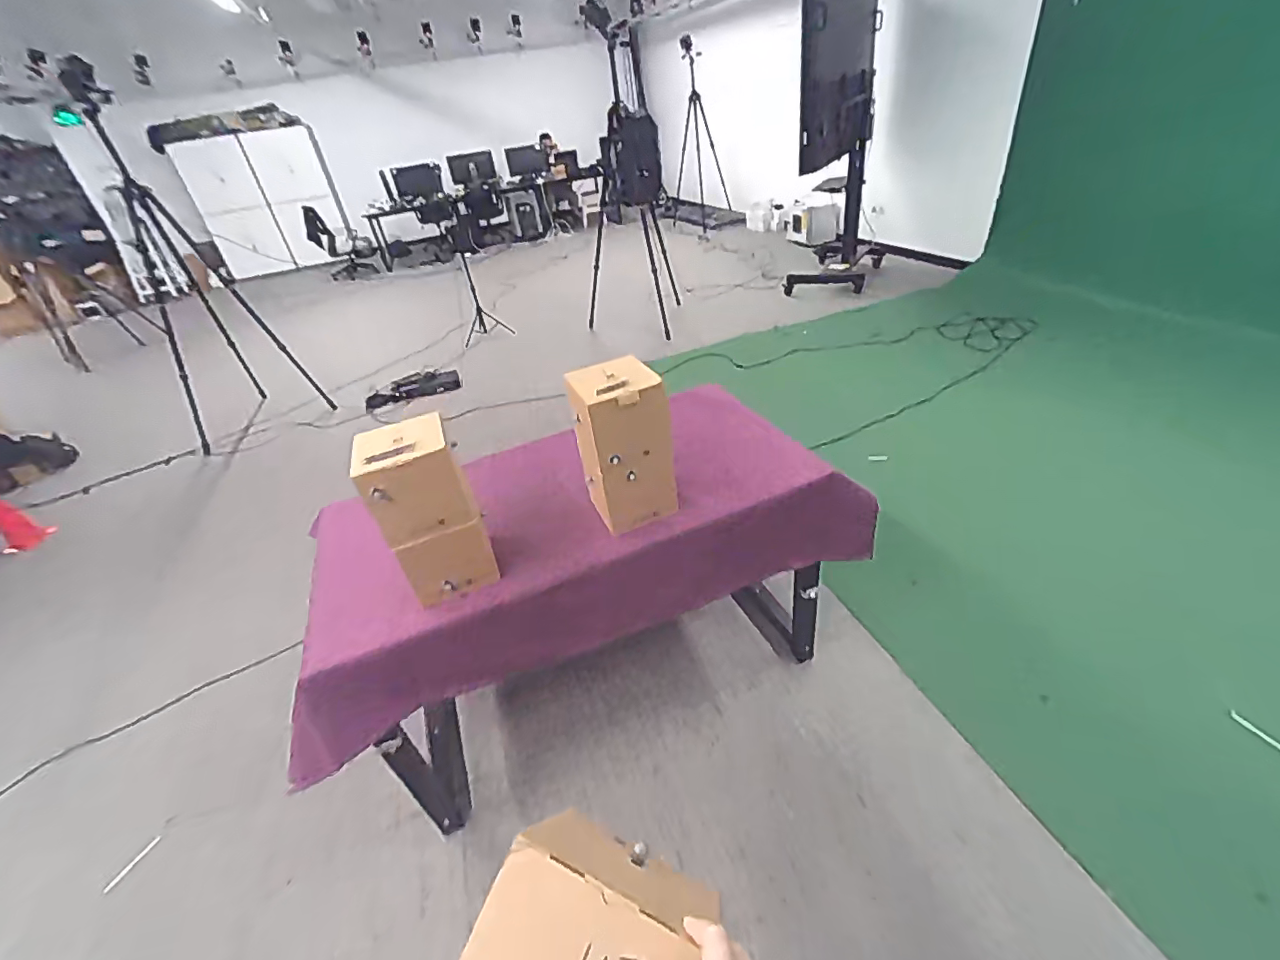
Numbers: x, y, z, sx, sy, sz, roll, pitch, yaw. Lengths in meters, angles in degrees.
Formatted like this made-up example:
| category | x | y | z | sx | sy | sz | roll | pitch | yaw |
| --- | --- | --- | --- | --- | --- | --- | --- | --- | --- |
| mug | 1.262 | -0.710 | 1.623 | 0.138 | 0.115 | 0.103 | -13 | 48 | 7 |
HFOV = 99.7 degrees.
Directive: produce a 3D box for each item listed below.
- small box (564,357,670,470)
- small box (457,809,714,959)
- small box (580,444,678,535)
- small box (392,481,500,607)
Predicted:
| category | x | y | z | sx | sy | sz | roll | pitch | yaw |
| --- | --- | --- | --- | --- | --- | --- | --- | --- | --- |
| small box | -0.046 | -0.138 | 1.156 | 0.168 | 0.176 | 0.179 | -20 | 36 | -15 |
| small box | -0.044 | 0.399 | 0.435 | 0.168 | 0.176 | 0.179 | 20 | 68 | 17 |
| small box | -0.026 | -0.003 | 1.248 | 0.168 | 0.176 | 0.179 | -20 | 35 | -13 |
| small box | -0.409 | 0.134 | 1.143 | 0.168 | 0.176 | 0.179 | -19 | 37 | -13 |
